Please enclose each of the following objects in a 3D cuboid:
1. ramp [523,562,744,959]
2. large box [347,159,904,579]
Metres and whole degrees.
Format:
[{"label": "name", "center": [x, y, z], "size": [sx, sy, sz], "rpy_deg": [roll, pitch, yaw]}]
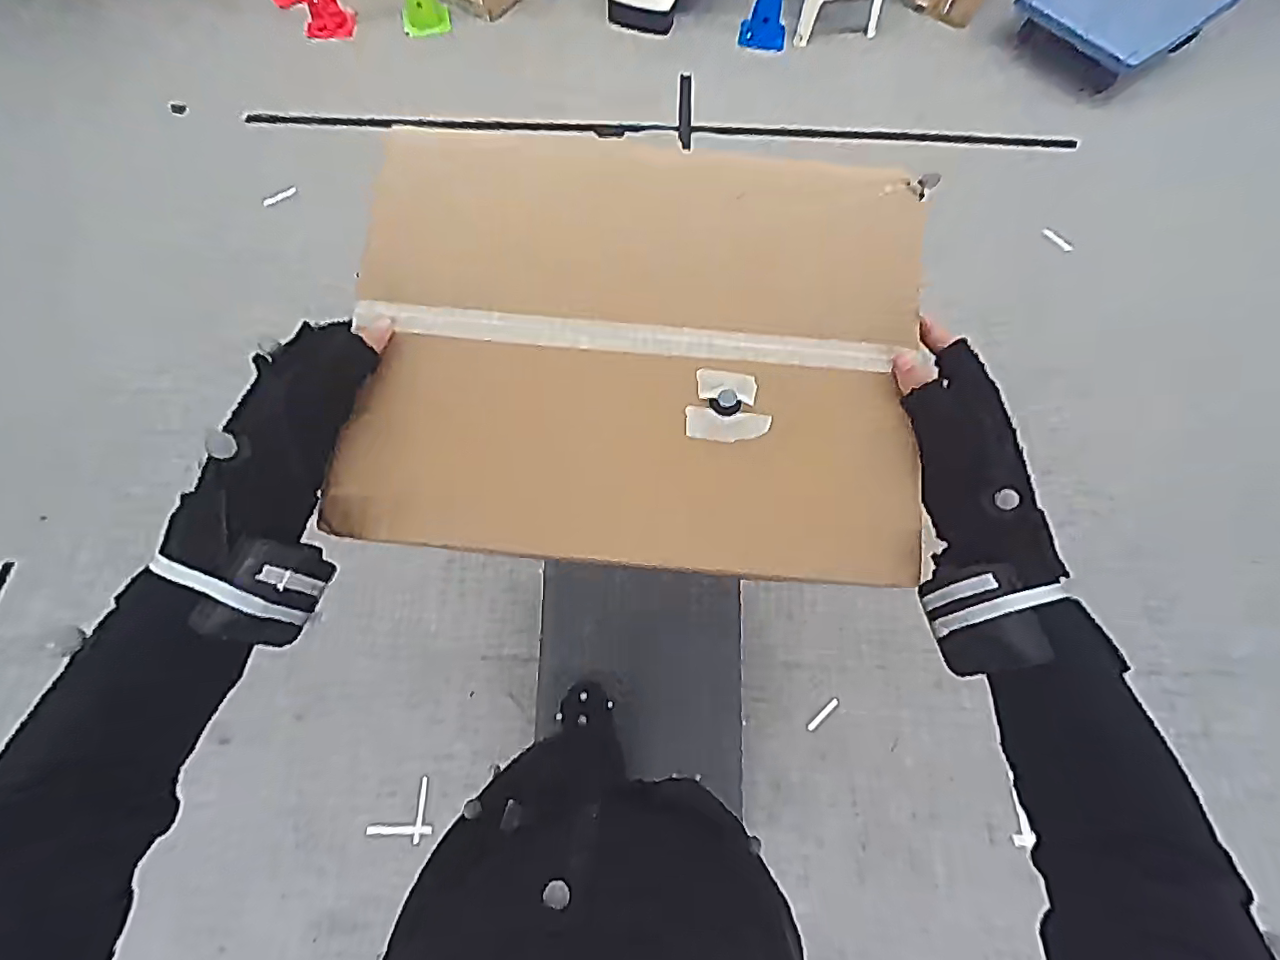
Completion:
[{"label": "ramp", "center": [-0.003, 0.668, 1.273], "size": [0.509, 0.206, 0.991], "rpy_deg": [0, 69, -2]}, {"label": "large box", "center": [-0.004, -0.068, 0.554], "size": [0.408, 0.320, 0.320], "rpy_deg": [5, 80, 0]}]
